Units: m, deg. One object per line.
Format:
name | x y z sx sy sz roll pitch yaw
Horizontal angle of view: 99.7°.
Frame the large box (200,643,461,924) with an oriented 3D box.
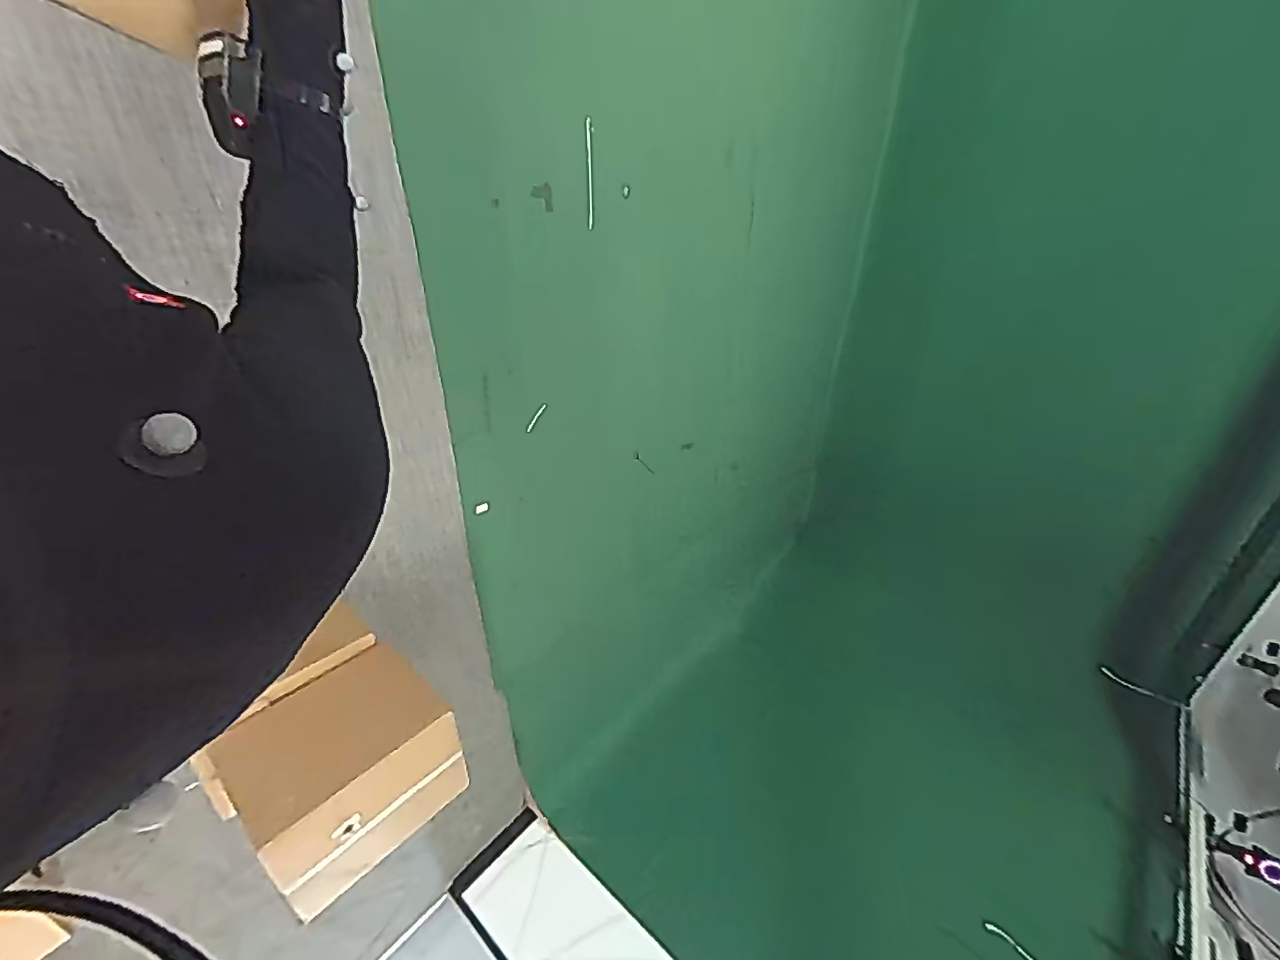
large box | -0.687 0.666 1.250 0.408 0.320 0.320 -28 134 -41
